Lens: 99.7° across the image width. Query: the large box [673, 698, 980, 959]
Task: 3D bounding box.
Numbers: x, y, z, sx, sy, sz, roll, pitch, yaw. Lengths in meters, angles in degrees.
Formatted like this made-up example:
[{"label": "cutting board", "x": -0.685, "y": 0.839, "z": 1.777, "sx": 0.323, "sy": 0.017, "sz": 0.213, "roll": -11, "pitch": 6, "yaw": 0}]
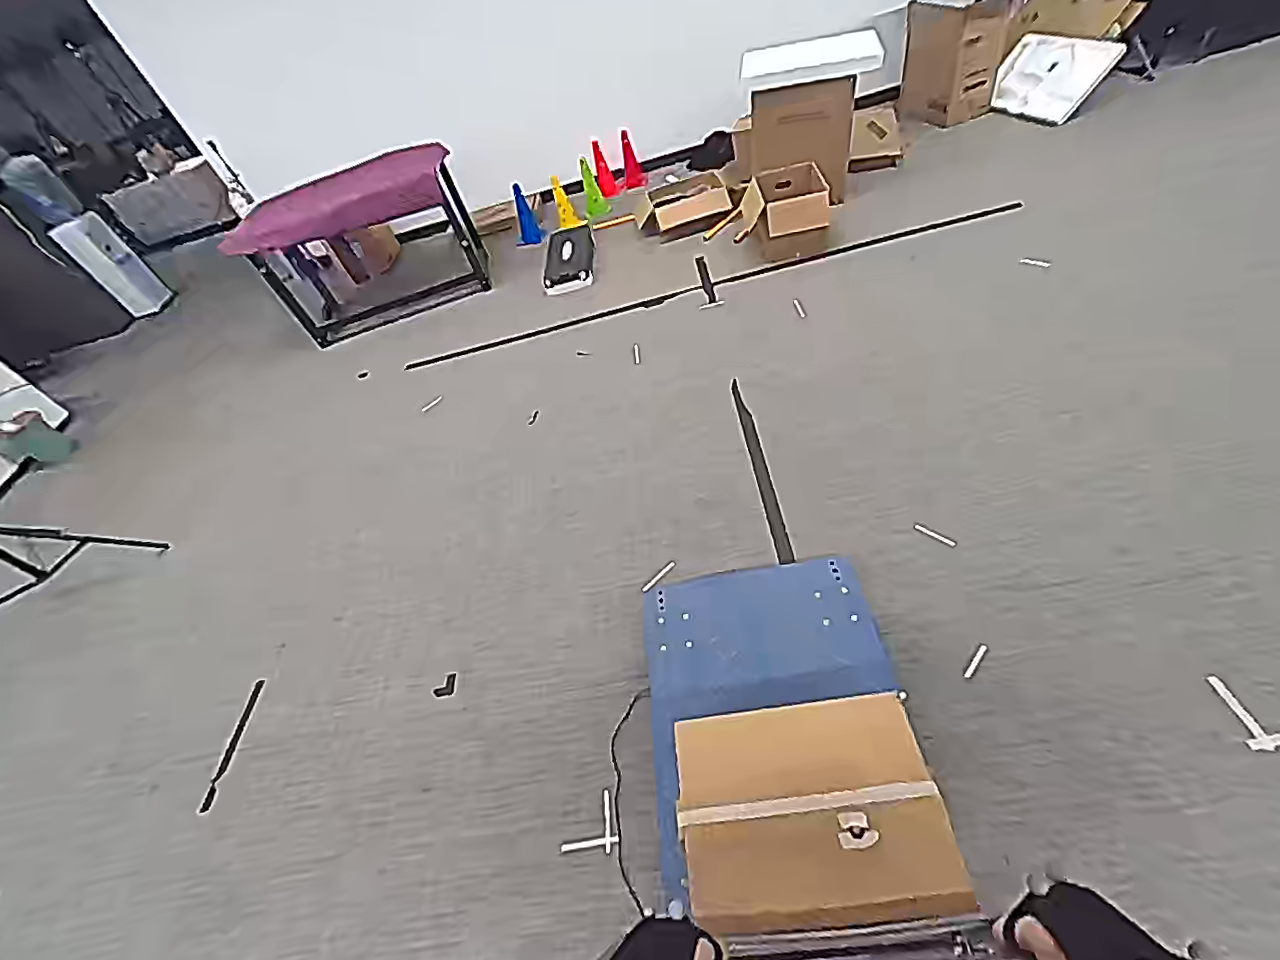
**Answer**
[{"label": "large box", "x": 0.294, "y": 0.630, "z": 0.964, "sx": 0.408, "sy": 0.320, "sz": 0.320, "roll": -11, "pitch": 46, "yaw": 7}]
